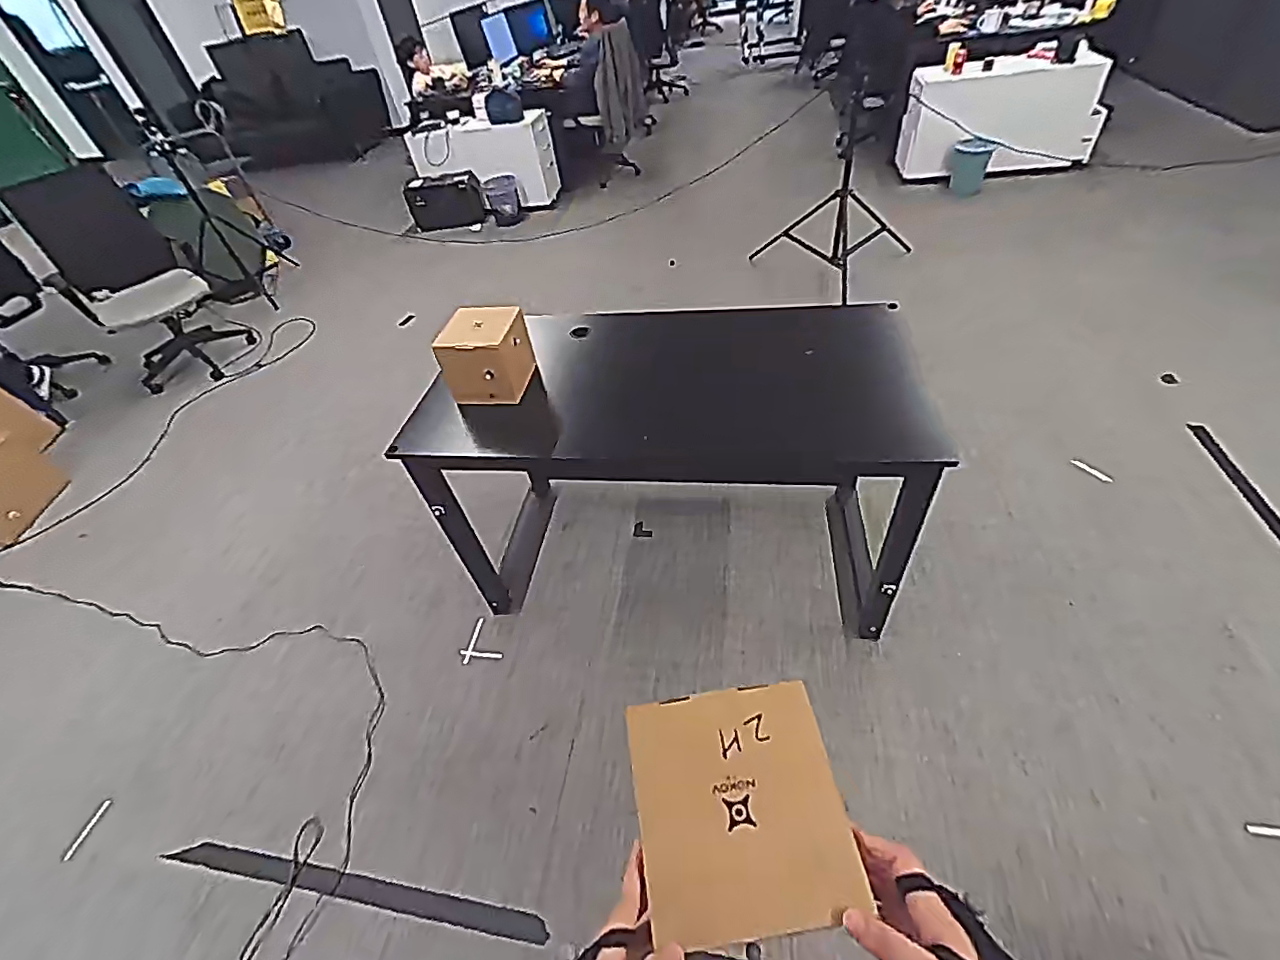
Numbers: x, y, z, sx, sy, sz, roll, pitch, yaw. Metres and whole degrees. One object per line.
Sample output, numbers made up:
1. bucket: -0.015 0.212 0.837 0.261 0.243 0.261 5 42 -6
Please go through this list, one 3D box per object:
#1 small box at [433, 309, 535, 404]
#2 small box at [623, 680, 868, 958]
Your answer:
1. small box: -0.371 -0.300 1.327 0.168 0.176 0.179 2 45 10
2. small box: 0.082 0.311 0.501 0.168 0.176 0.179 -9 49 -2
